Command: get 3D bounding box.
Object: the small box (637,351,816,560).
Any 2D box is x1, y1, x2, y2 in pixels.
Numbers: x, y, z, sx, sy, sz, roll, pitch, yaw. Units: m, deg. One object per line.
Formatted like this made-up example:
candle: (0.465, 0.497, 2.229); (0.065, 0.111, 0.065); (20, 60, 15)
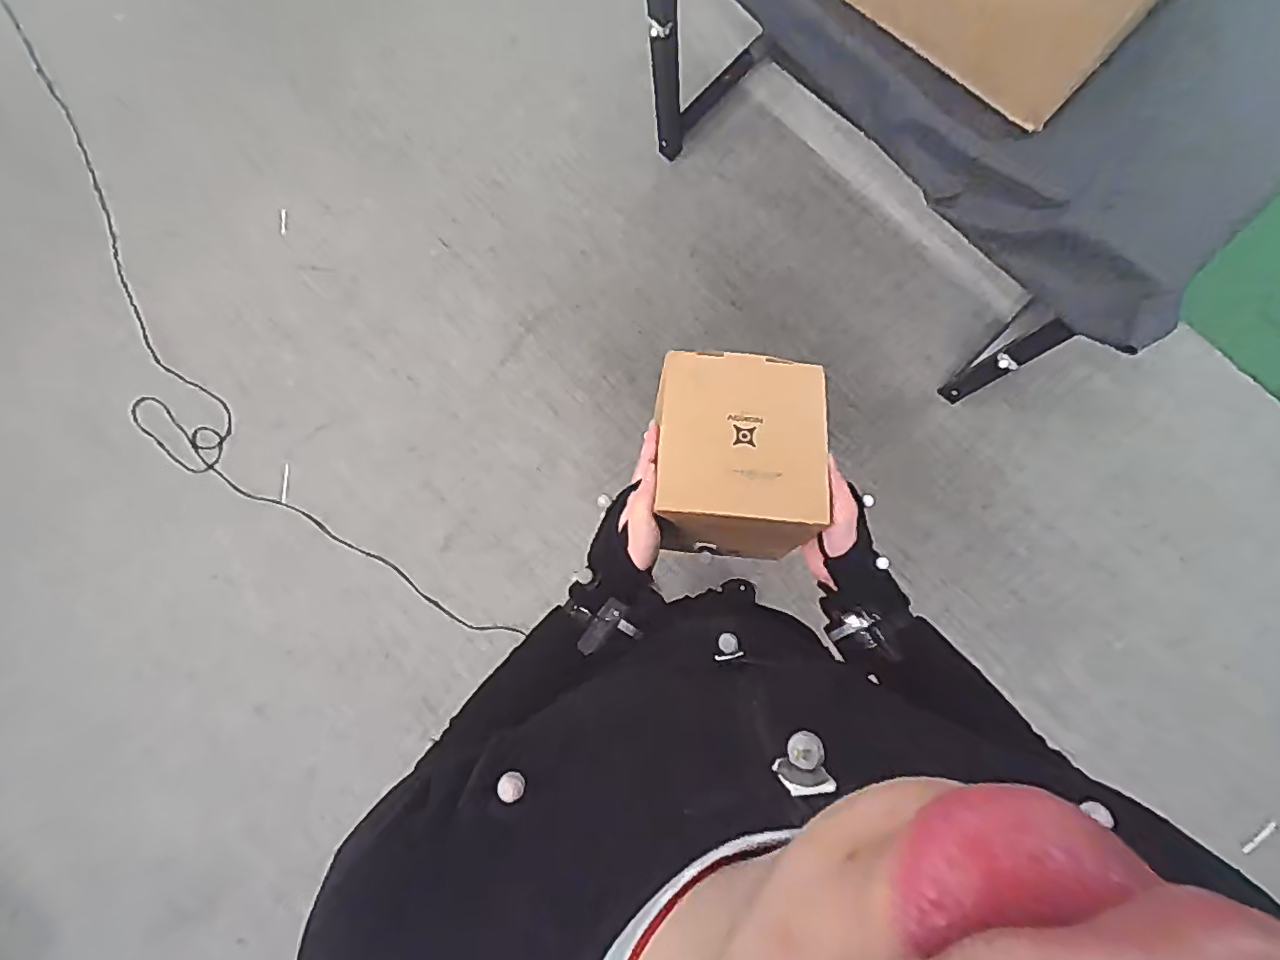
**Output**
small box: (0.088, -0.019, 0.614); (0.168, 0.176, 0.179); (6, 70, -2)
